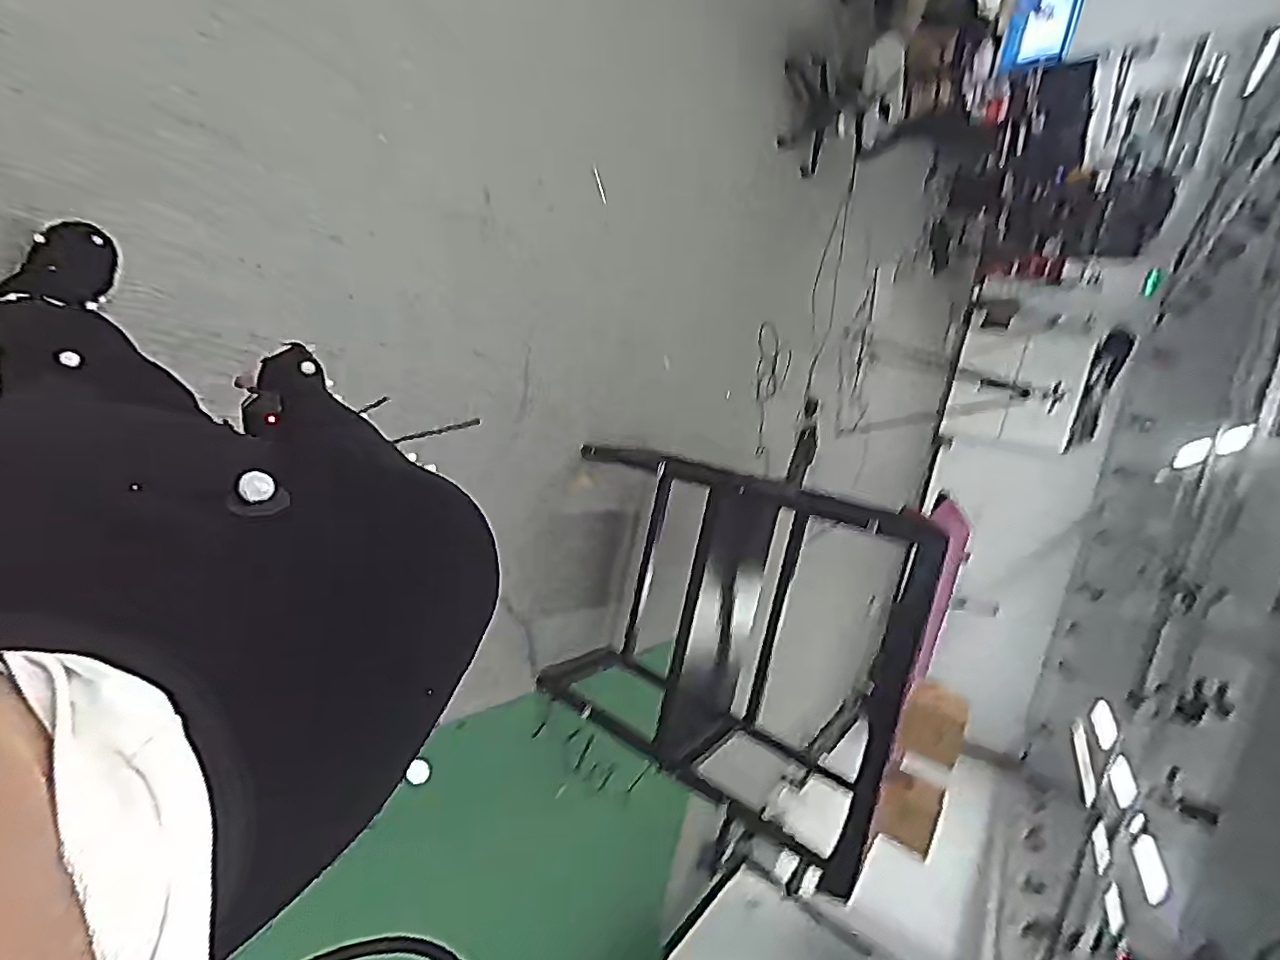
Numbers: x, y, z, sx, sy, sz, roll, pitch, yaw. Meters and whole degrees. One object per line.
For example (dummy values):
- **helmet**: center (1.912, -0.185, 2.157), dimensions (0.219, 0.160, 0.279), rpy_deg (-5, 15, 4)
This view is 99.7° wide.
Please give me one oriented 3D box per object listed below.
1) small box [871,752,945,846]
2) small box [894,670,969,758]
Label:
- **small box**: center (0.851, 1.001, 1.722), dimensions (0.168, 0.176, 0.179), rpy_deg (1, 101, -53)
- **small box**: center (0.912, 0.720, 1.695), dimensions (0.168, 0.176, 0.179), rpy_deg (-3, 106, -54)
